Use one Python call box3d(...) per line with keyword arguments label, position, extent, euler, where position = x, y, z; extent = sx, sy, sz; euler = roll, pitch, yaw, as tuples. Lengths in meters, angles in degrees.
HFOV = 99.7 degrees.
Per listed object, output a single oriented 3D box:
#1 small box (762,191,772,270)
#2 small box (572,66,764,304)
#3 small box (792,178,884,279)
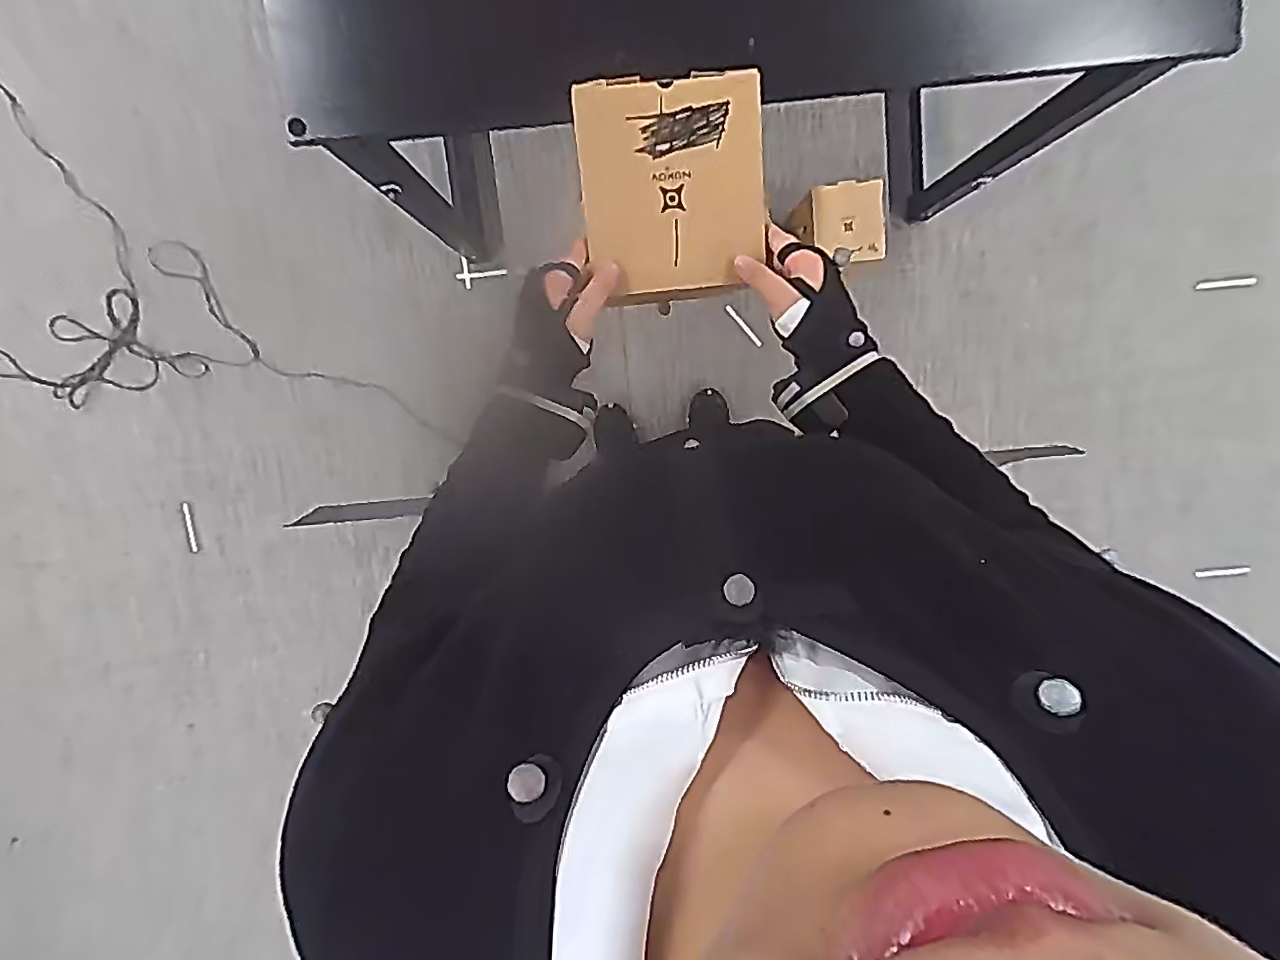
box3d(label="small box", position=(0.214, -0.587, 1.327), extent=(0.179, 0.176, 0.168), euler=(-6, 98, 2))
box3d(label="small box", position=(0.024, -0.286, 0.561), extent=(0.168, 0.176, 0.179), euler=(-6, 105, -1))
box3d(label="small box", position=(0.476, -0.607, 1.322), extent=(0.168, 0.176, 0.179), euler=(-6, 98, 2))
